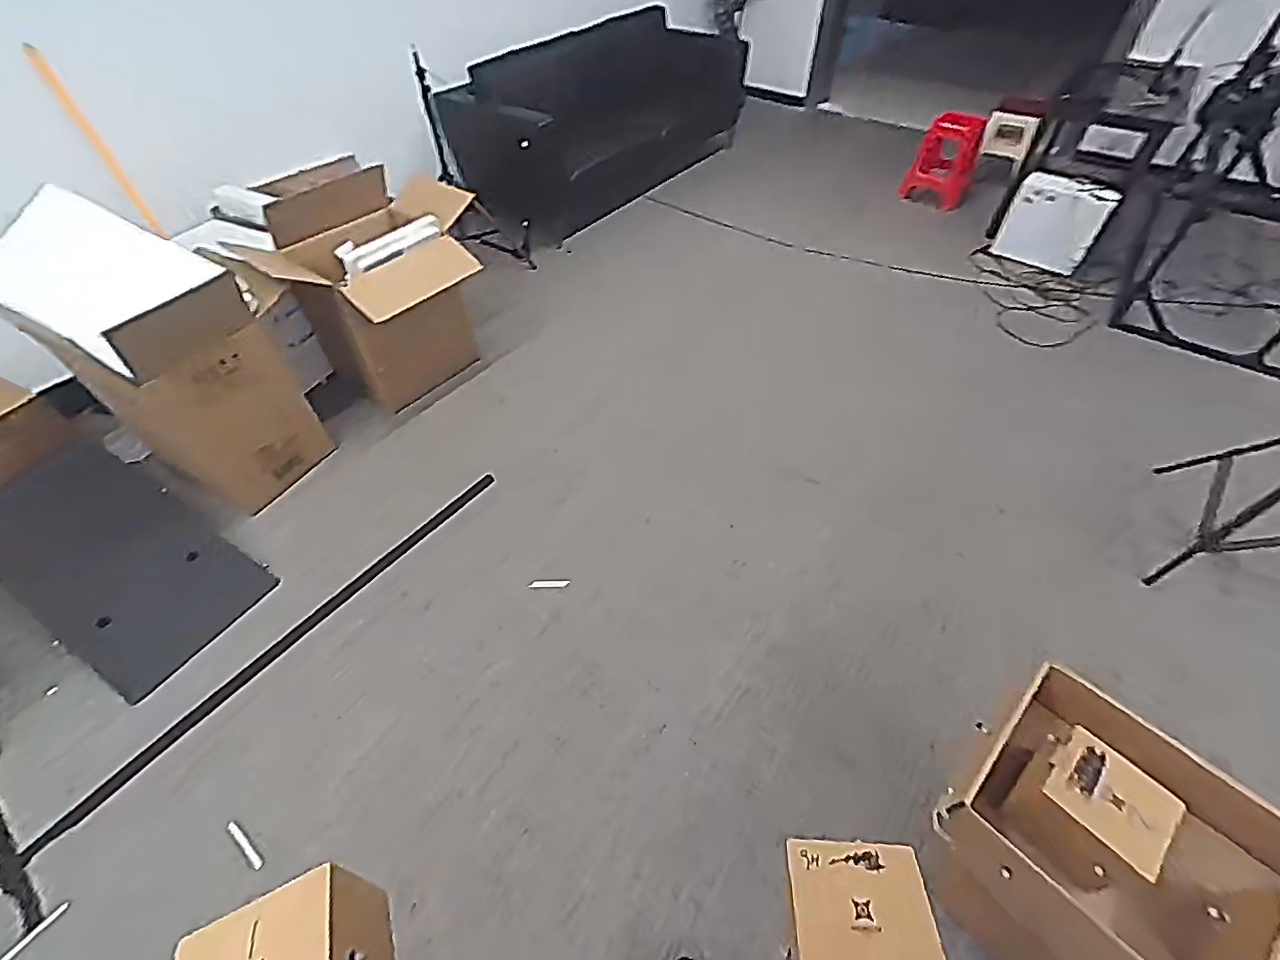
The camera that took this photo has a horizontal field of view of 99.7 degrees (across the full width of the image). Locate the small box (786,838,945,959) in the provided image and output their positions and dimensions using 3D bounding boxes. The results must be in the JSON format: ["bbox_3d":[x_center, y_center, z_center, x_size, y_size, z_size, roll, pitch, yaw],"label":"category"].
[{"bbox_3d":[0.278,0.597,0.688,0.168,0.176,0.179,-2,30,10],"label":"small box"}]

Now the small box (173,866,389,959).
[{"bbox_3d":[-0.399,0.593,0.617,0.168,0.176,0.179,-22,43,-16],"label":"small box"}]
